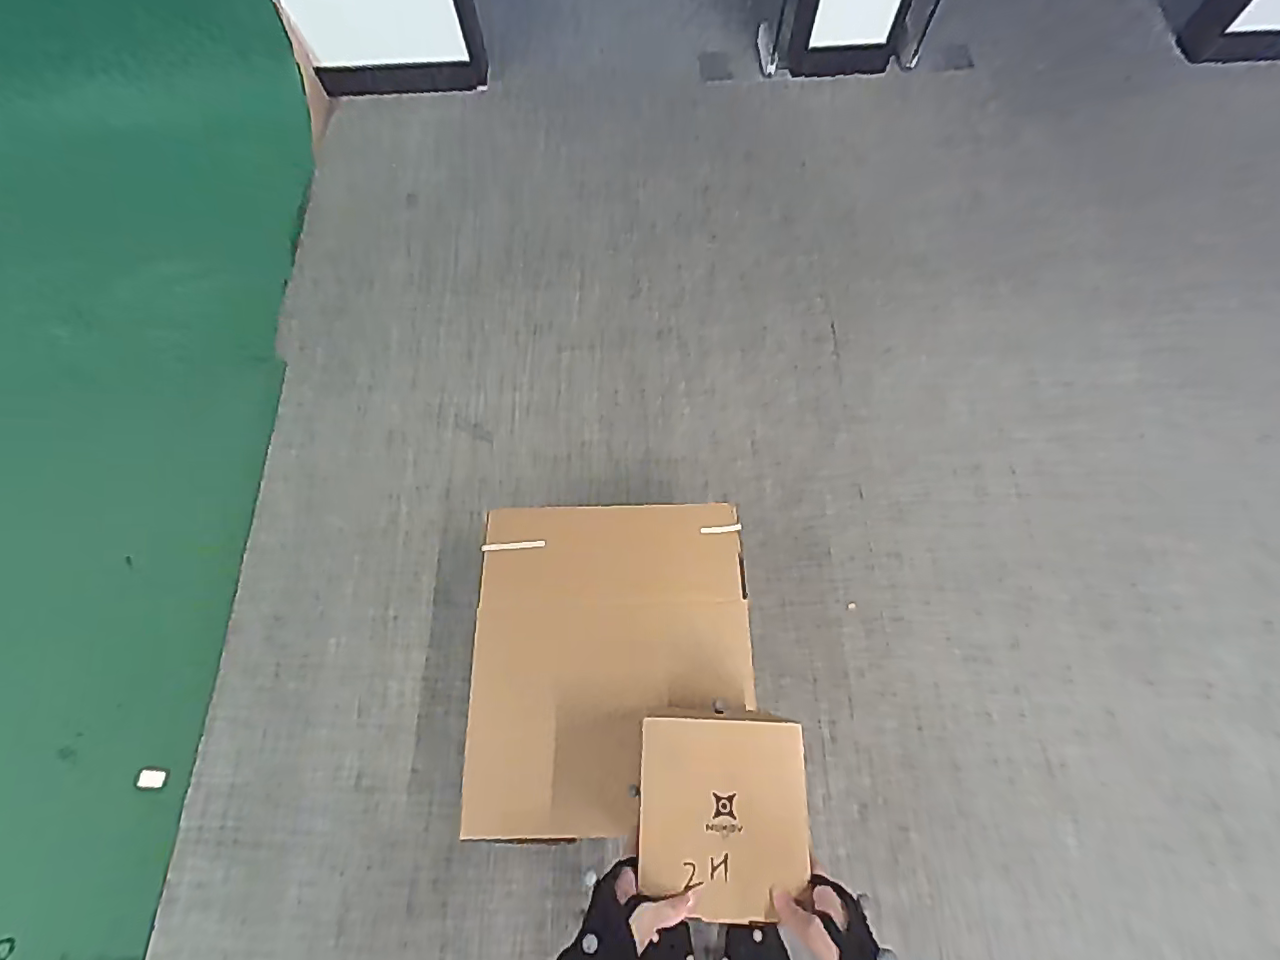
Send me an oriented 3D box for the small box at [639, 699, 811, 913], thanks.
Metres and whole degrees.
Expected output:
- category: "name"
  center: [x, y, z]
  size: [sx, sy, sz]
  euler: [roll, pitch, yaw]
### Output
- category: "small box"
  center: [0.085, 0.349, 0.615]
  size: [0.168, 0.176, 0.179]
  euler: [2, 72, 2]
